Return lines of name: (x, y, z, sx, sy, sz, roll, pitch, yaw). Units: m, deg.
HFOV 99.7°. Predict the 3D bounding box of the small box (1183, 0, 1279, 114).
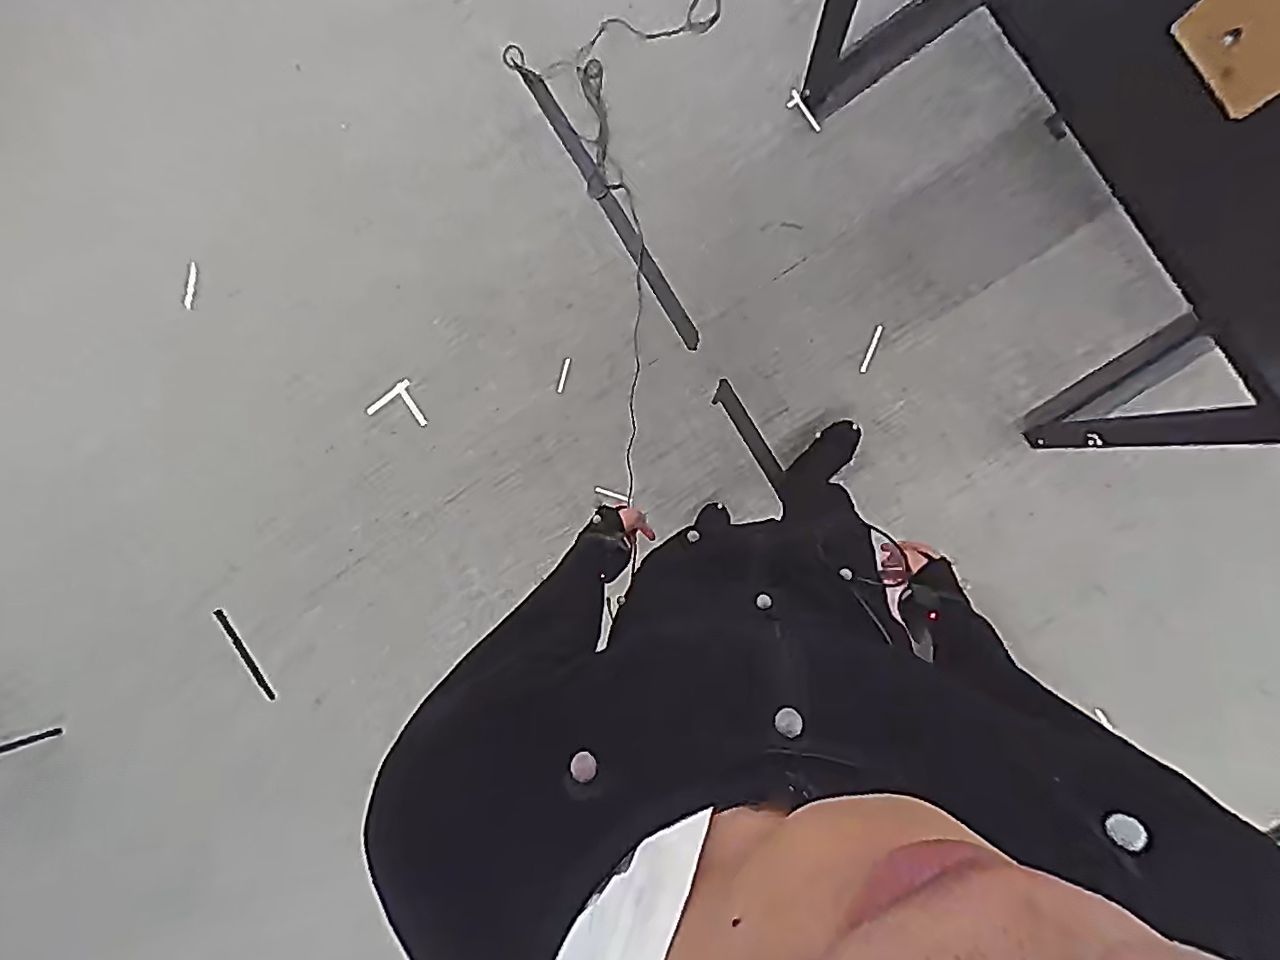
small box: (0.872, -0.623, 0.681, 0.179, 0.176, 0.168, -33, 89, 8)
